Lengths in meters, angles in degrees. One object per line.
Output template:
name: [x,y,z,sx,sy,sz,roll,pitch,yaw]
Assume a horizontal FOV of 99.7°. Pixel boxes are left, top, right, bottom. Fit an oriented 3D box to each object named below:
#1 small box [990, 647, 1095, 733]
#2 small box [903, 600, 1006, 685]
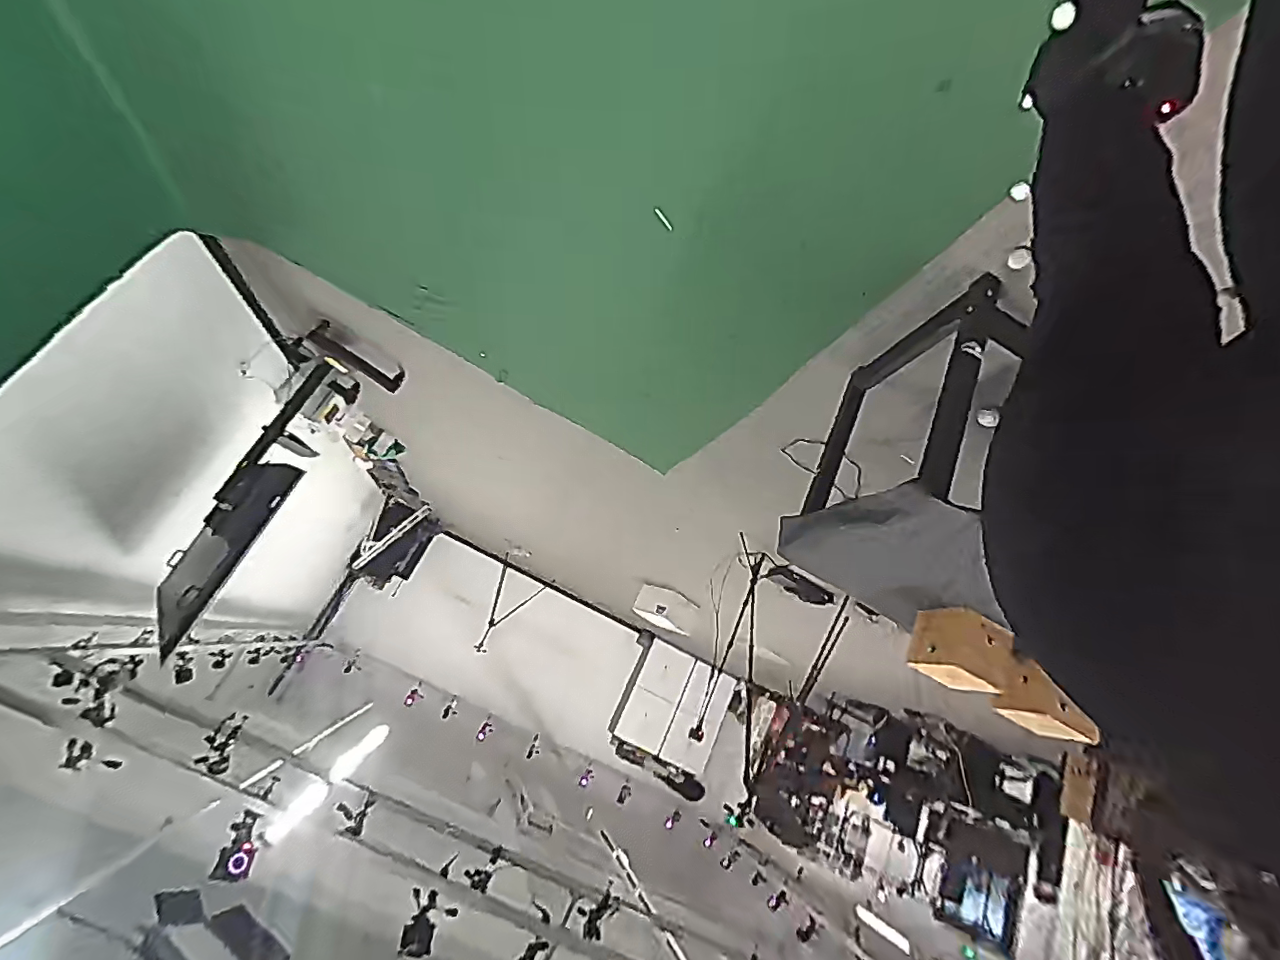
small box: [1.131,0.583,1.520,0.179,0.176,0.168,29,158,-8]
small box: [0.876,0.448,1.503,0.168,0.176,0.179,29,158,-7]
